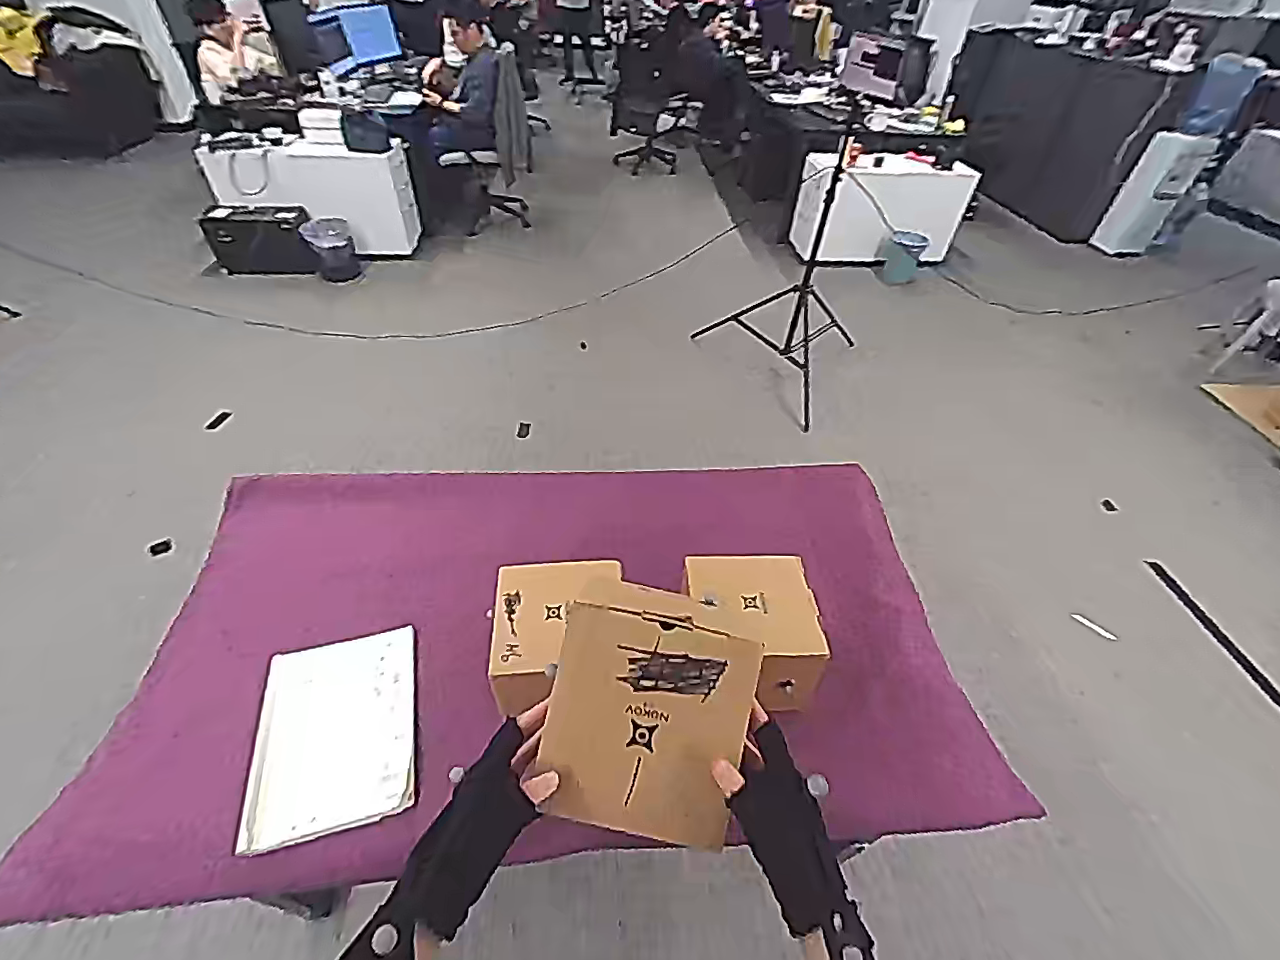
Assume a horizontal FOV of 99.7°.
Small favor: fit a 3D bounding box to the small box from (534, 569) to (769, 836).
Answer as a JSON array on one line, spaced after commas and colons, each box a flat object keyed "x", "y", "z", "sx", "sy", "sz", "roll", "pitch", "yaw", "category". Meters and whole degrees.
[{"x": 0.009, "y": 0.191, "z": 0.521, "sx": 0.168, "sy": 0.176, "sz": 0.179, "roll": 12, "pitch": 88, "yaw": 1, "category": "small box"}]

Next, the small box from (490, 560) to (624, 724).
[{"x": -0.109, "y": 0.232, "z": 0.776, "sx": 0.179, "sy": 0.176, "sz": 0.168, "roll": -2, "pitch": 44, "yaw": -6, "category": "small box"}]

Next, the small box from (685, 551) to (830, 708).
[{"x": 0.155, "y": 0.223, "z": 0.803, "sx": 0.179, "sy": 0.176, "sz": 0.168, "roll": -1, "pitch": 43, "yaw": -2, "category": "small box"}]
